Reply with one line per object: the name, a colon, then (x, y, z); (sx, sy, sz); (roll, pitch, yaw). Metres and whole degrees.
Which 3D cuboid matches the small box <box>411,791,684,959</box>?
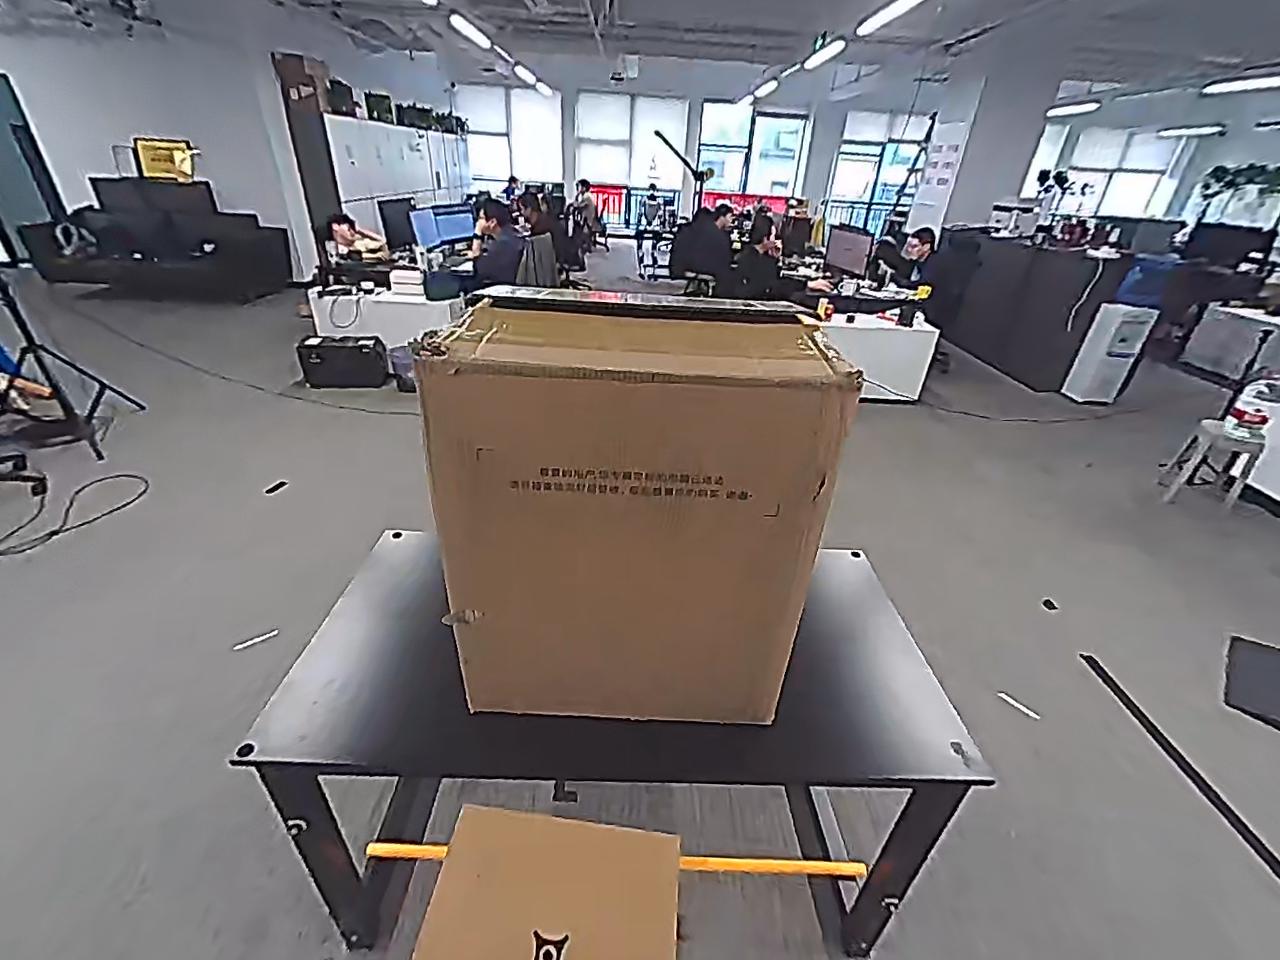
small box: (-0.065, 0.359, 0.384); (0.168, 0.176, 0.179); (7, 38, 2)
